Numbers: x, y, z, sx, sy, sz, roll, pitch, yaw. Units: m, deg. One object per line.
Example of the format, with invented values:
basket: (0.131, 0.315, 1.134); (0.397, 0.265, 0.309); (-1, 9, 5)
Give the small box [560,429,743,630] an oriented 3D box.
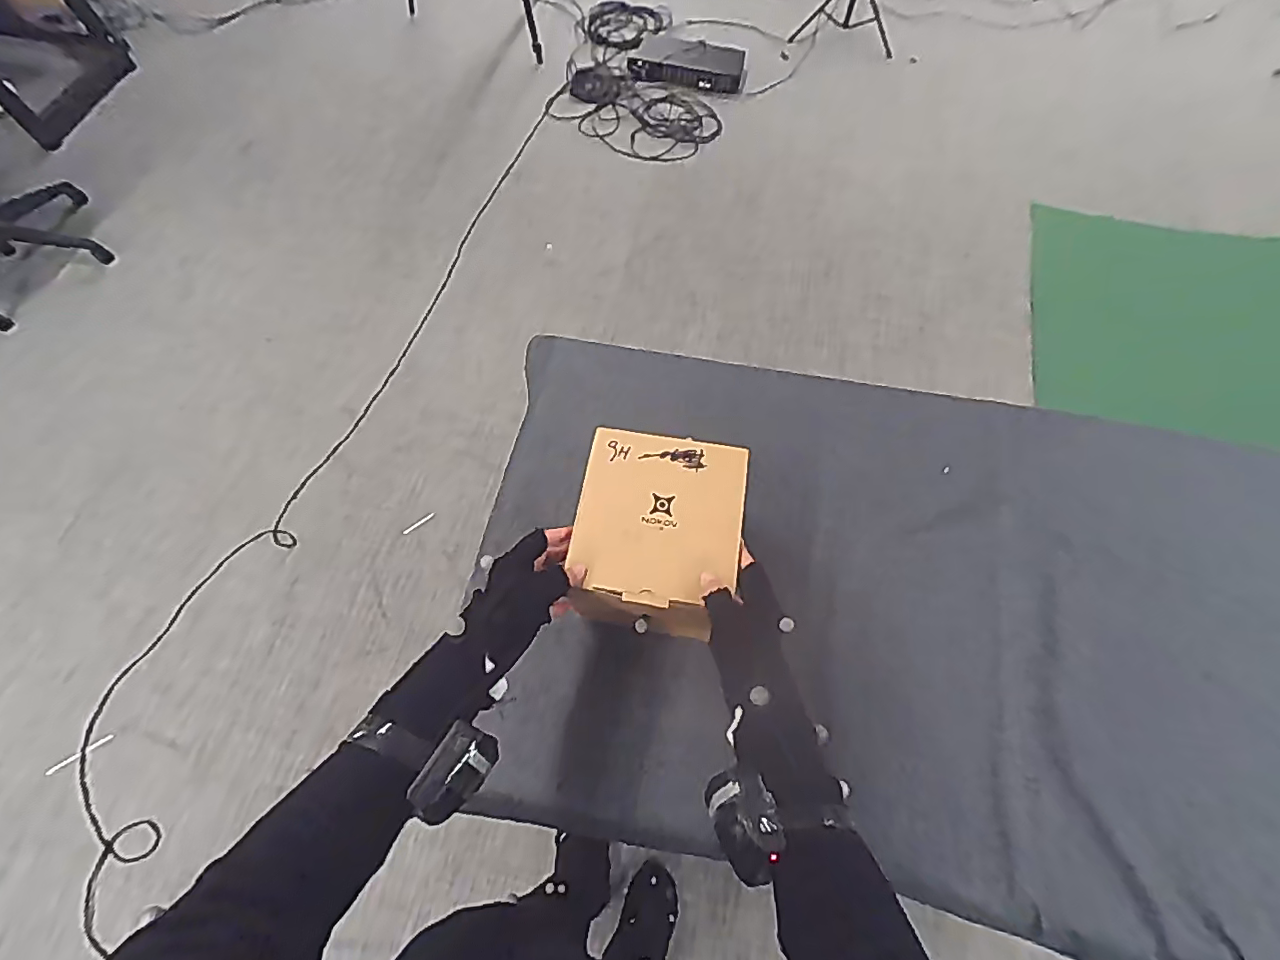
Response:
small box: (0.018, 0.066, 0.619); (0.168, 0.176, 0.179); (8, 66, 5)
